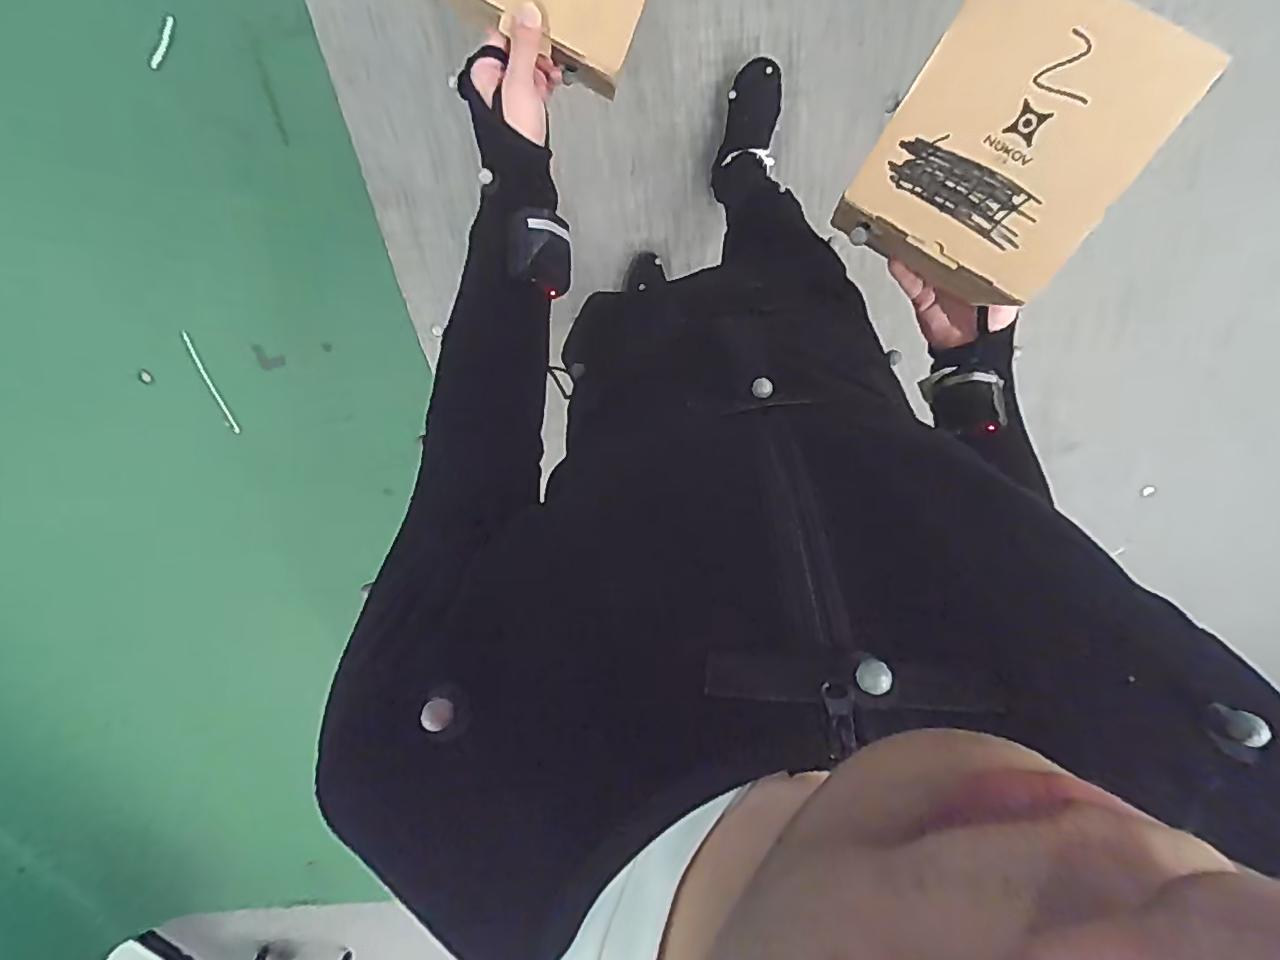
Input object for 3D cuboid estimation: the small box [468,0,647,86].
[{"bbox_3d":[-0.064,-0.490,0.479,0.168,0.176,0.179,20,115,-15],"label":"small box"}]
